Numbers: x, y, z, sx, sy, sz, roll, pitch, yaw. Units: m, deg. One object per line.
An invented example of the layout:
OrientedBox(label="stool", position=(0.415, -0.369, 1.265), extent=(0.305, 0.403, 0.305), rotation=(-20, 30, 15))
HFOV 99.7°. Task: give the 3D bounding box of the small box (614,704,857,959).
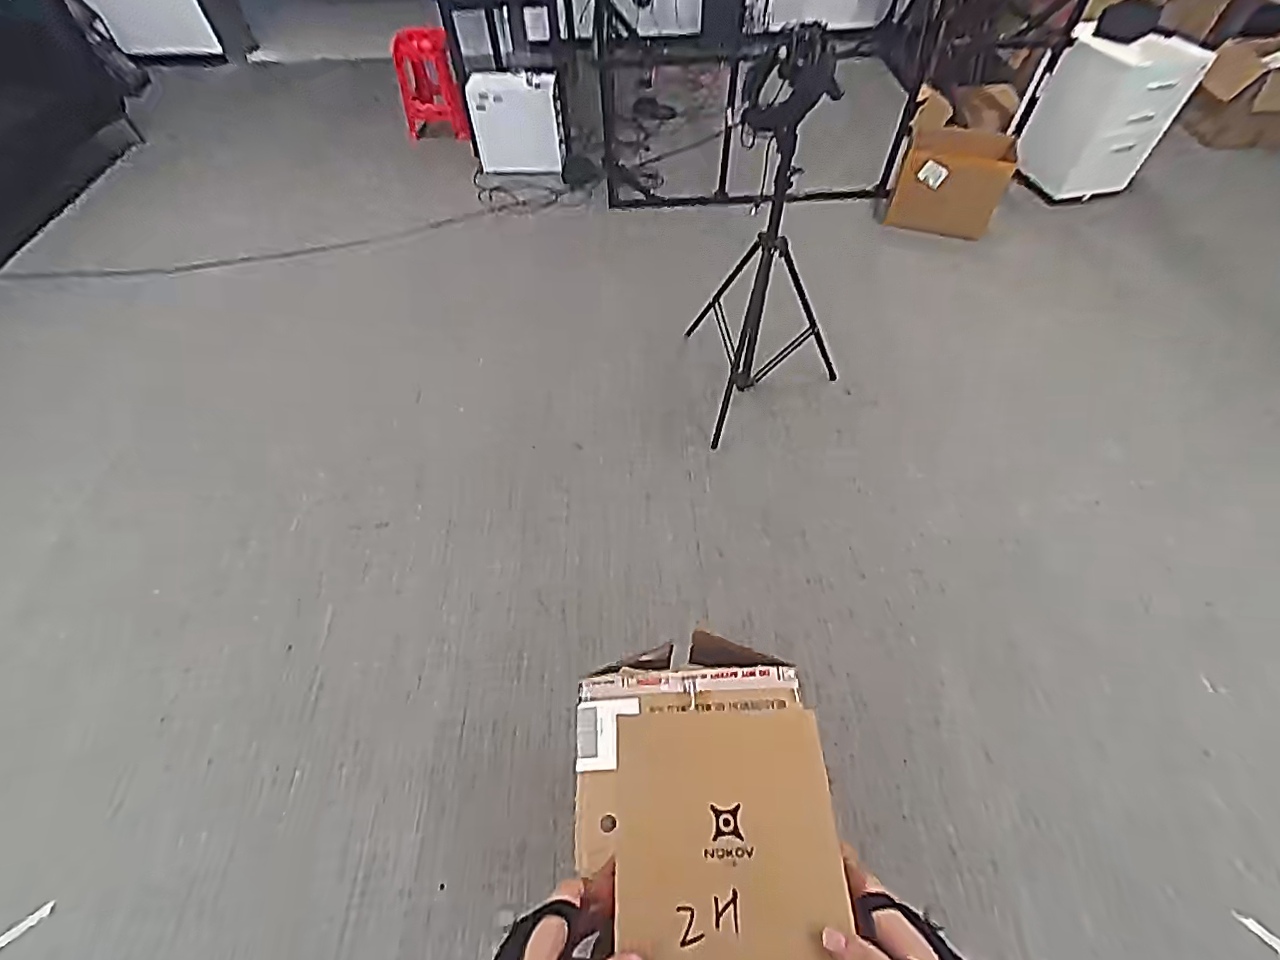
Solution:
OrientedBox(label="small box", position=(0.065, 0.307, 0.470), extent=(0.168, 0.176, 0.179), rotation=(-2, 55, 1))
